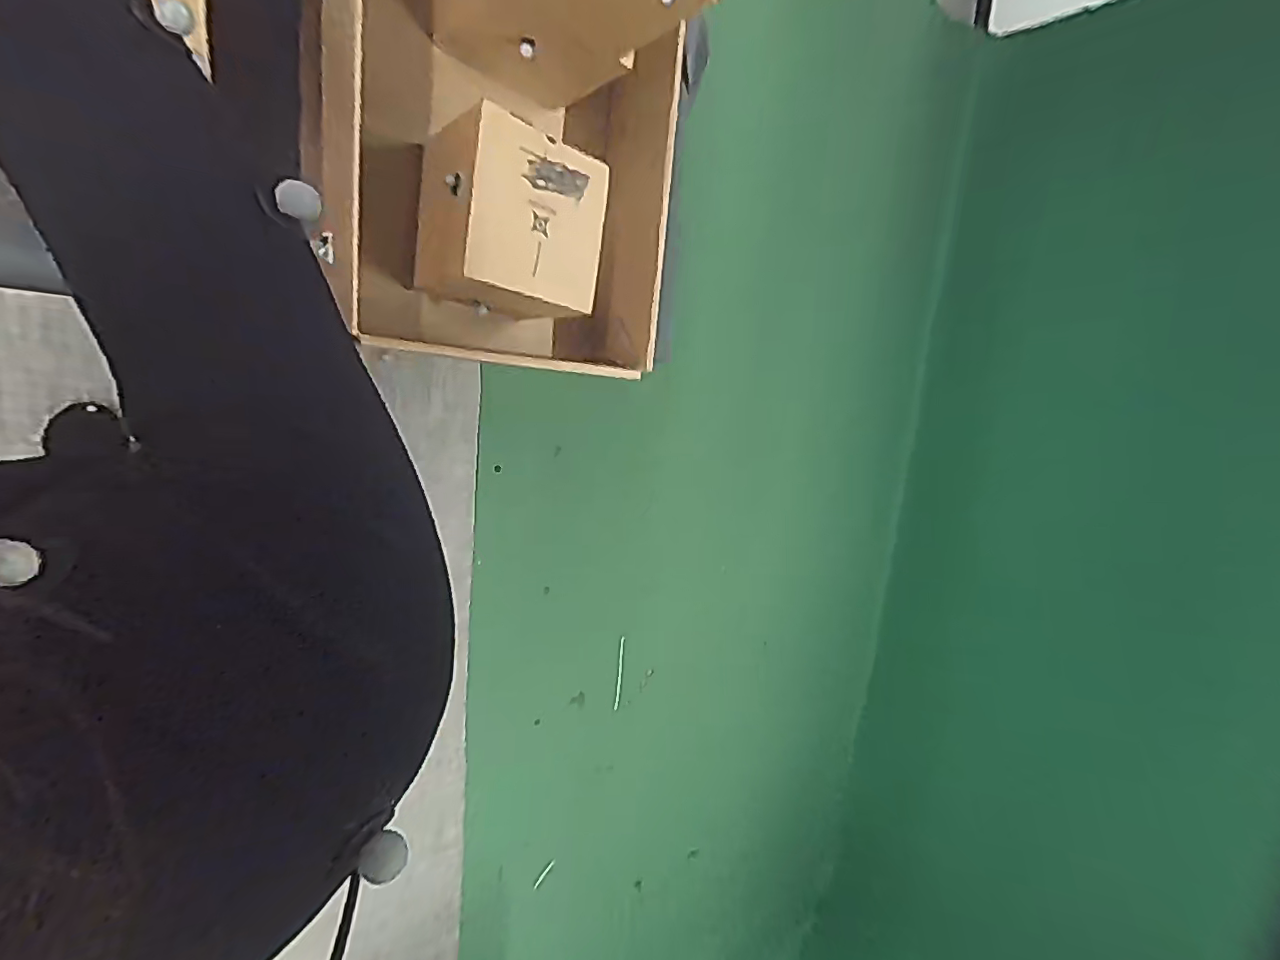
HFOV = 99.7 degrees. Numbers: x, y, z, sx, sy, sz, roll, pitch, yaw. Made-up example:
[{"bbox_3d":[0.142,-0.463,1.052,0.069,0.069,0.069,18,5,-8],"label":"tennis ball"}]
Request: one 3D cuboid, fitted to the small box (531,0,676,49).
[{"bbox_3d":[-0.041,-0.551,0.496,0.179,0.176,0.168,6,98,-45],"label":"small box"}]
